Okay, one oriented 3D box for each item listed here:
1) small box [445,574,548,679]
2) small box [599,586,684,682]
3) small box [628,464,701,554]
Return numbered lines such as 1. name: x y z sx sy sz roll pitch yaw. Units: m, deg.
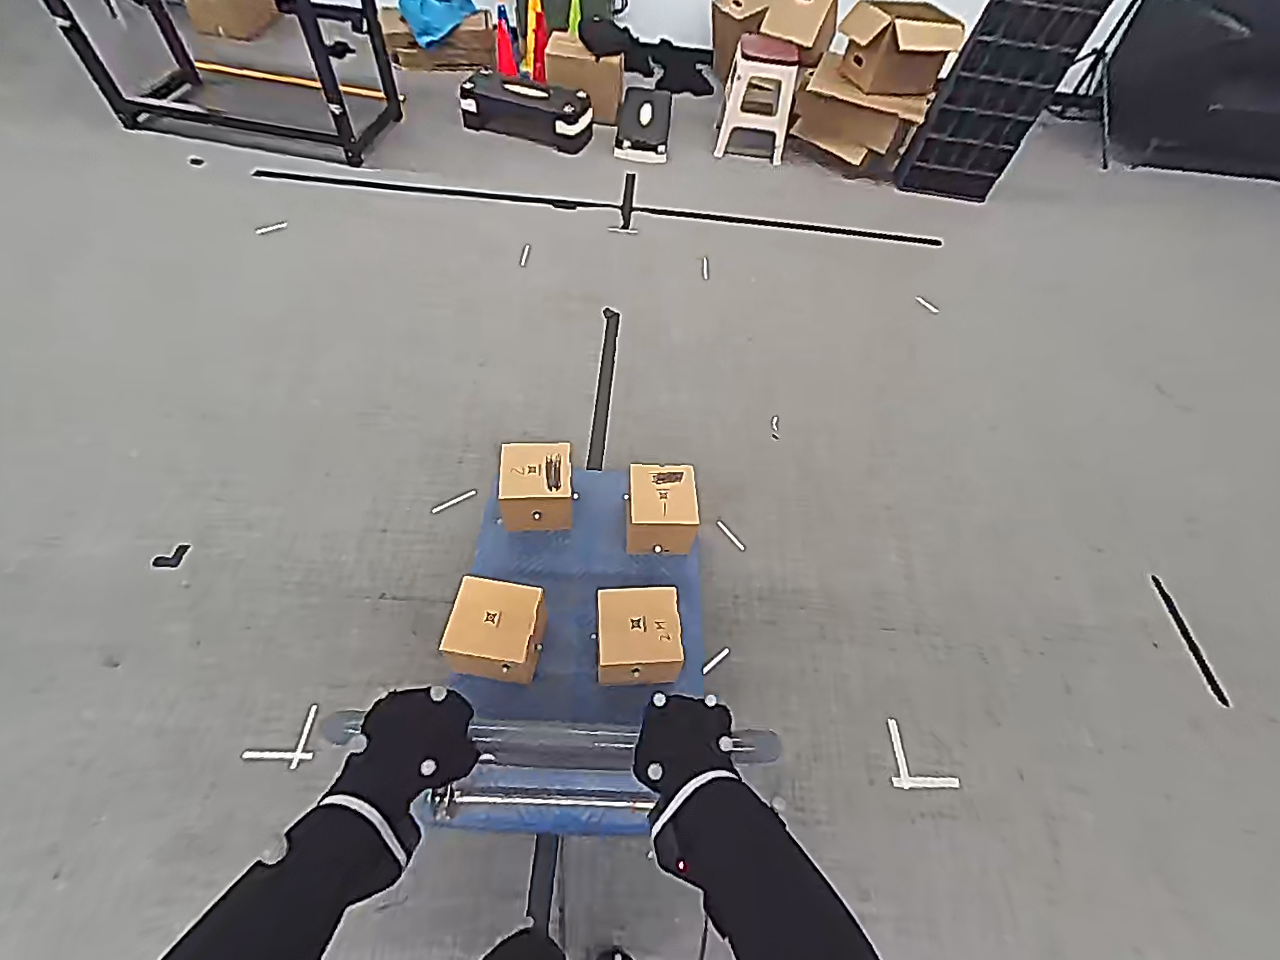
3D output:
1. small box: -0.309 0.330 1.203 0.179 0.176 0.168 10 55 -1
2. small box: -0.003 0.350 1.220 0.179 0.176 0.168 0 56 -6
3. small box: 0.057 0.078 1.412 0.168 0.176 0.179 1 57 -5
